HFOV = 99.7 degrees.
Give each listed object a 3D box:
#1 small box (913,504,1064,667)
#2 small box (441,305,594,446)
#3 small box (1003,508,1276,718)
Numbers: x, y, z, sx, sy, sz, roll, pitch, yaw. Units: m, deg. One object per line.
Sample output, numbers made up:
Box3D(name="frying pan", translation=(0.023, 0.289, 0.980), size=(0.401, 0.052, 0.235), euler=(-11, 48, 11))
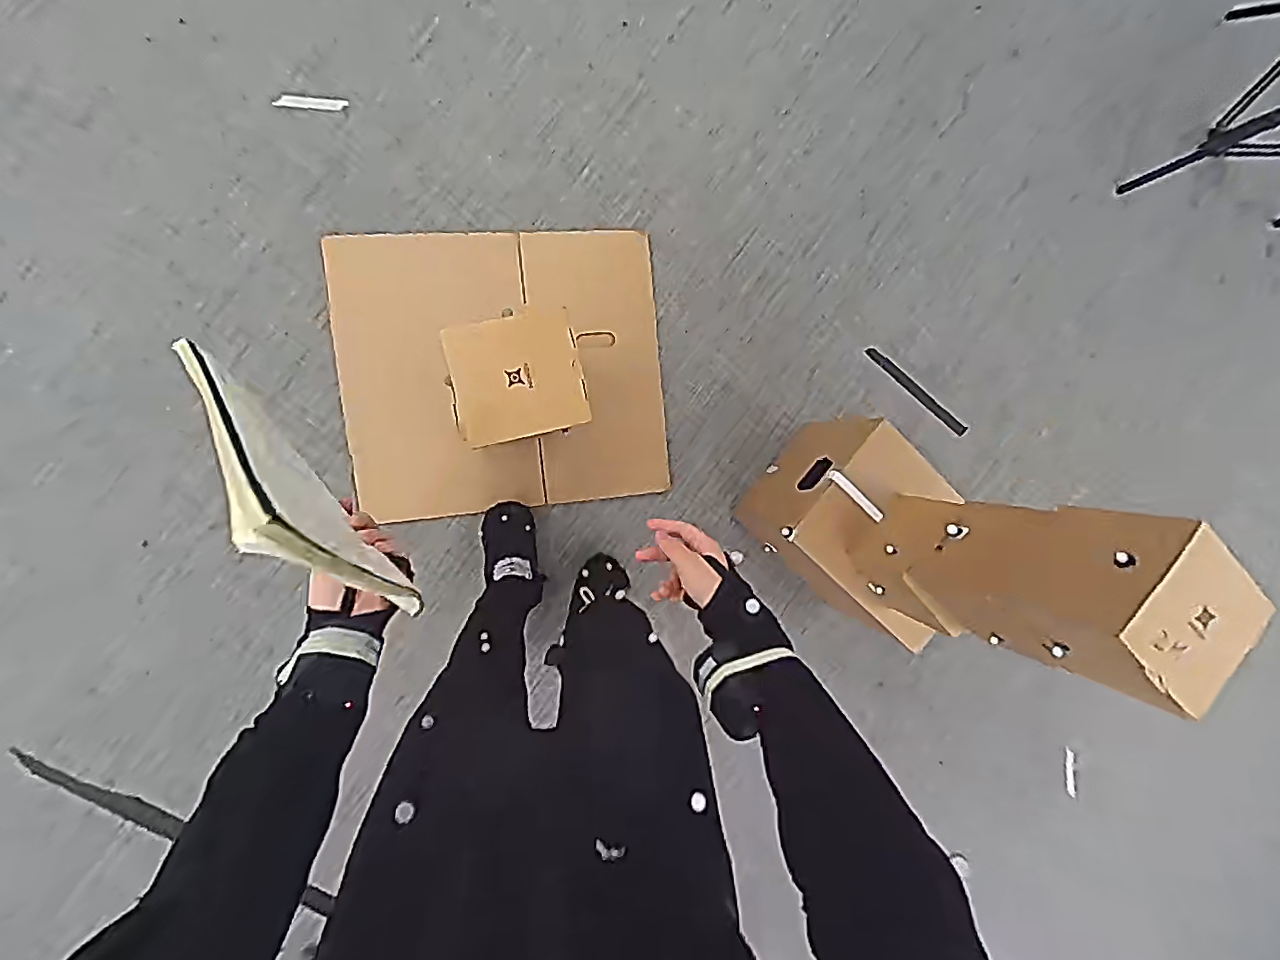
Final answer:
Box3D(name="small box", translation=(0.583, 0.153, 0.853), size=(0.179, 0.176, 0.168), euler=(40, 85, -11))
Box3D(name="small box", translation=(-0.181, -0.148, 0.816), size=(0.179, 0.176, 0.168), euler=(-15, 98, -12))
Box3D(name="small box", translation=(0.622, 0.153, 0.693), size=(0.168, 0.176, 0.179), euler=(43, 85, -11))
